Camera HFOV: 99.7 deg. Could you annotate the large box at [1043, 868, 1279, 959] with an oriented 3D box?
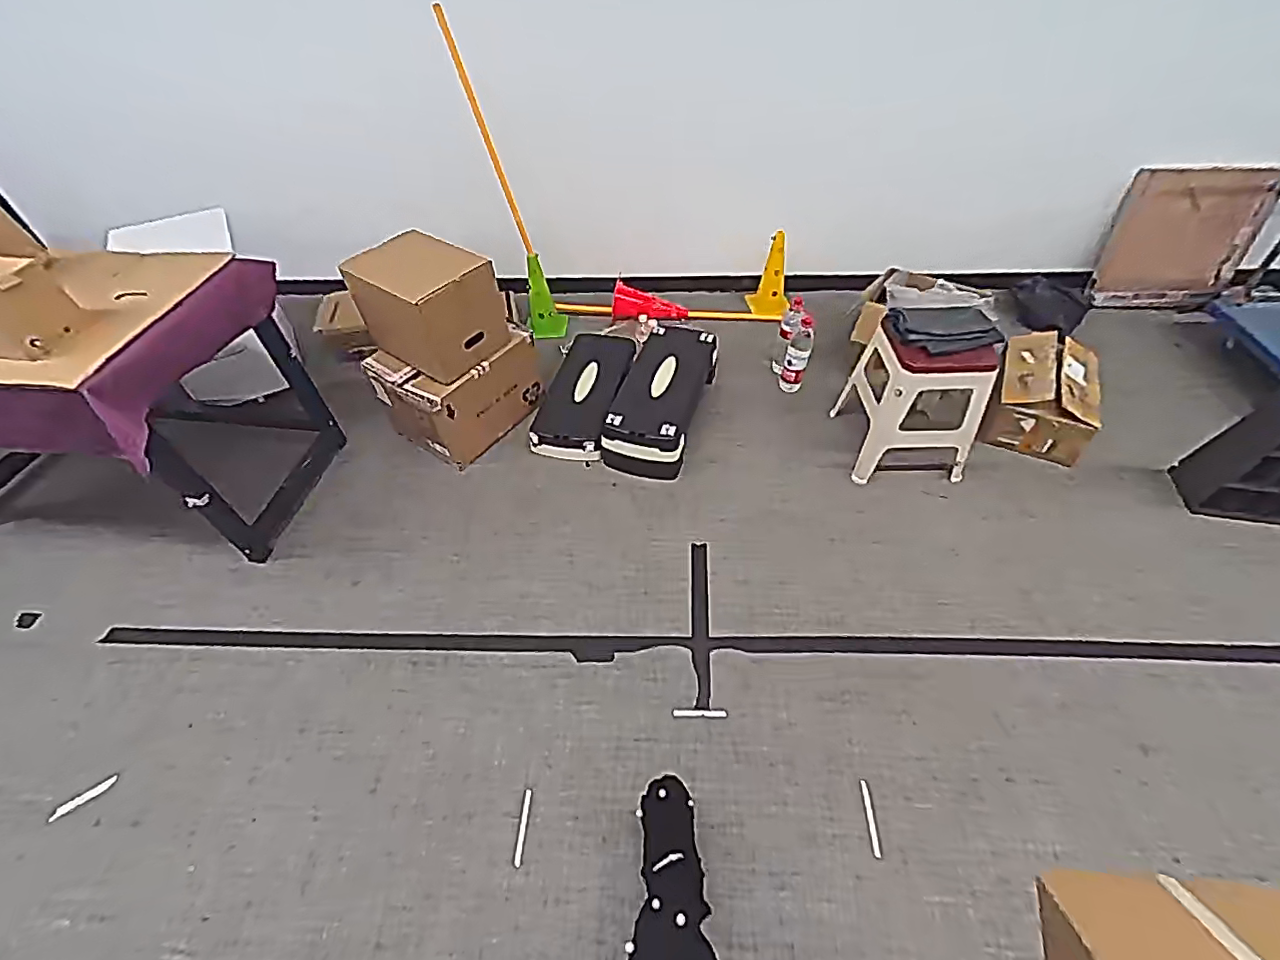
[{"bbox_3d":[0.684,0.696,0.548,0.320,0.408,0.320,-5,87,15],"label":"large box"}]
